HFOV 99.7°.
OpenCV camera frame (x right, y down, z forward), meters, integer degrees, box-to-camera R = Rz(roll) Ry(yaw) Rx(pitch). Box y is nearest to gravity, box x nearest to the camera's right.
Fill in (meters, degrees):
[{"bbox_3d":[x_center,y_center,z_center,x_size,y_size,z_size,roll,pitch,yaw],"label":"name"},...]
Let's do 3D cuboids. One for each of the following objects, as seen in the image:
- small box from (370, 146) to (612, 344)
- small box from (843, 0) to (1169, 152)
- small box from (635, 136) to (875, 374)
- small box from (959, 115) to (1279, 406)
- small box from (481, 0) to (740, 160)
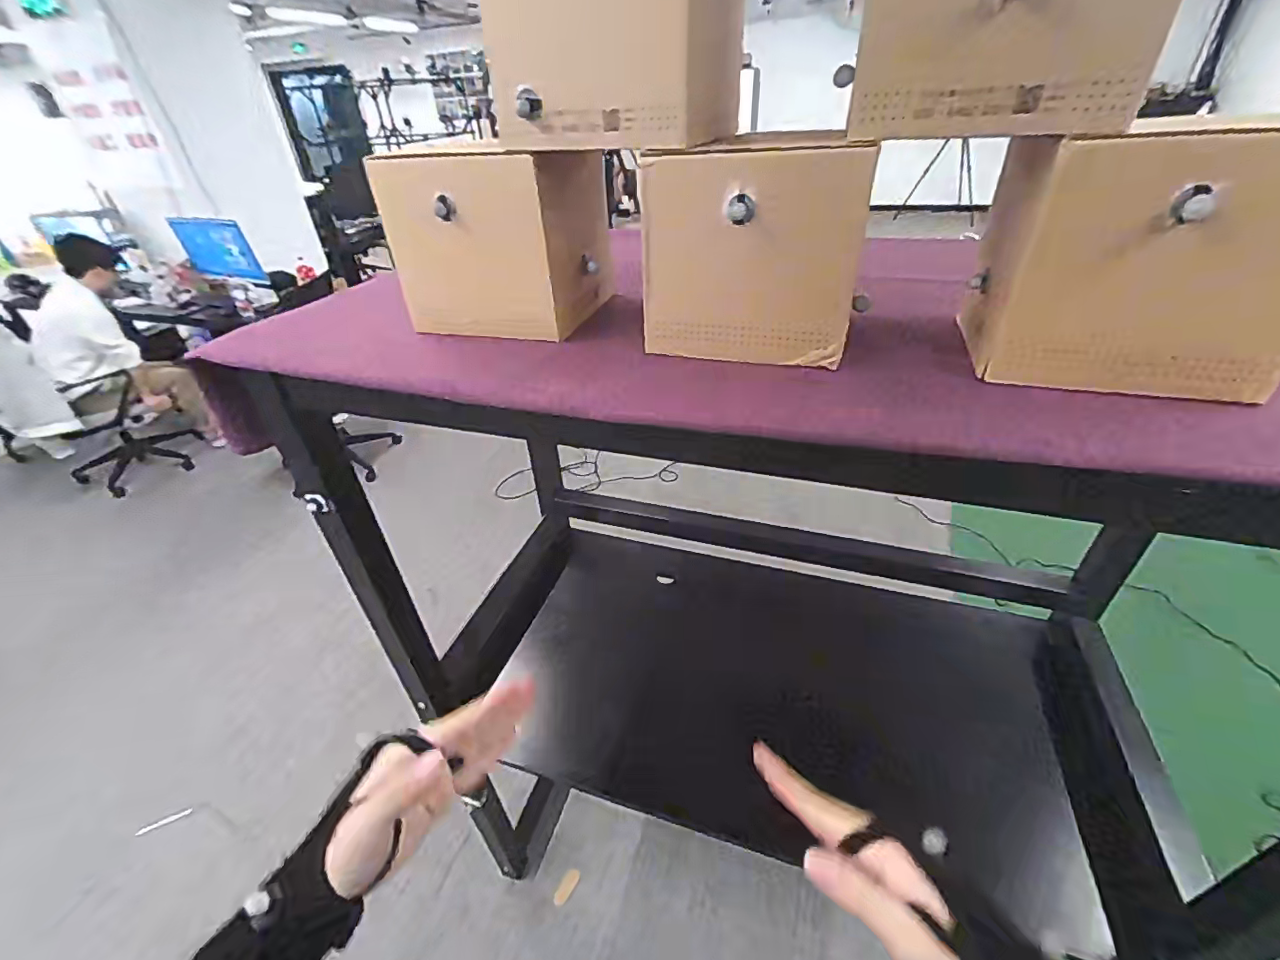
[{"bbox_3d":[-0.142,-0.256,0.583,0.179,0.176,0.168,8,38,16],"label":"small box"},{"bbox_3d":[0.239,-0.328,0.369,0.168,0.176,0.179,9,38,17],"label":"small box"},{"bbox_3d":[0.108,-0.209,0.497,0.179,0.176,0.168,10,38,18],"label":"small box"},{"bbox_3d":[0.372,-0.169,0.415,0.179,0.176,0.168,8,37,18],"label":"small box"},{"bbox_3d":[-0.013,-0.370,0.450,0.168,0.176,0.179,11,37,18],"label":"small box"}]
